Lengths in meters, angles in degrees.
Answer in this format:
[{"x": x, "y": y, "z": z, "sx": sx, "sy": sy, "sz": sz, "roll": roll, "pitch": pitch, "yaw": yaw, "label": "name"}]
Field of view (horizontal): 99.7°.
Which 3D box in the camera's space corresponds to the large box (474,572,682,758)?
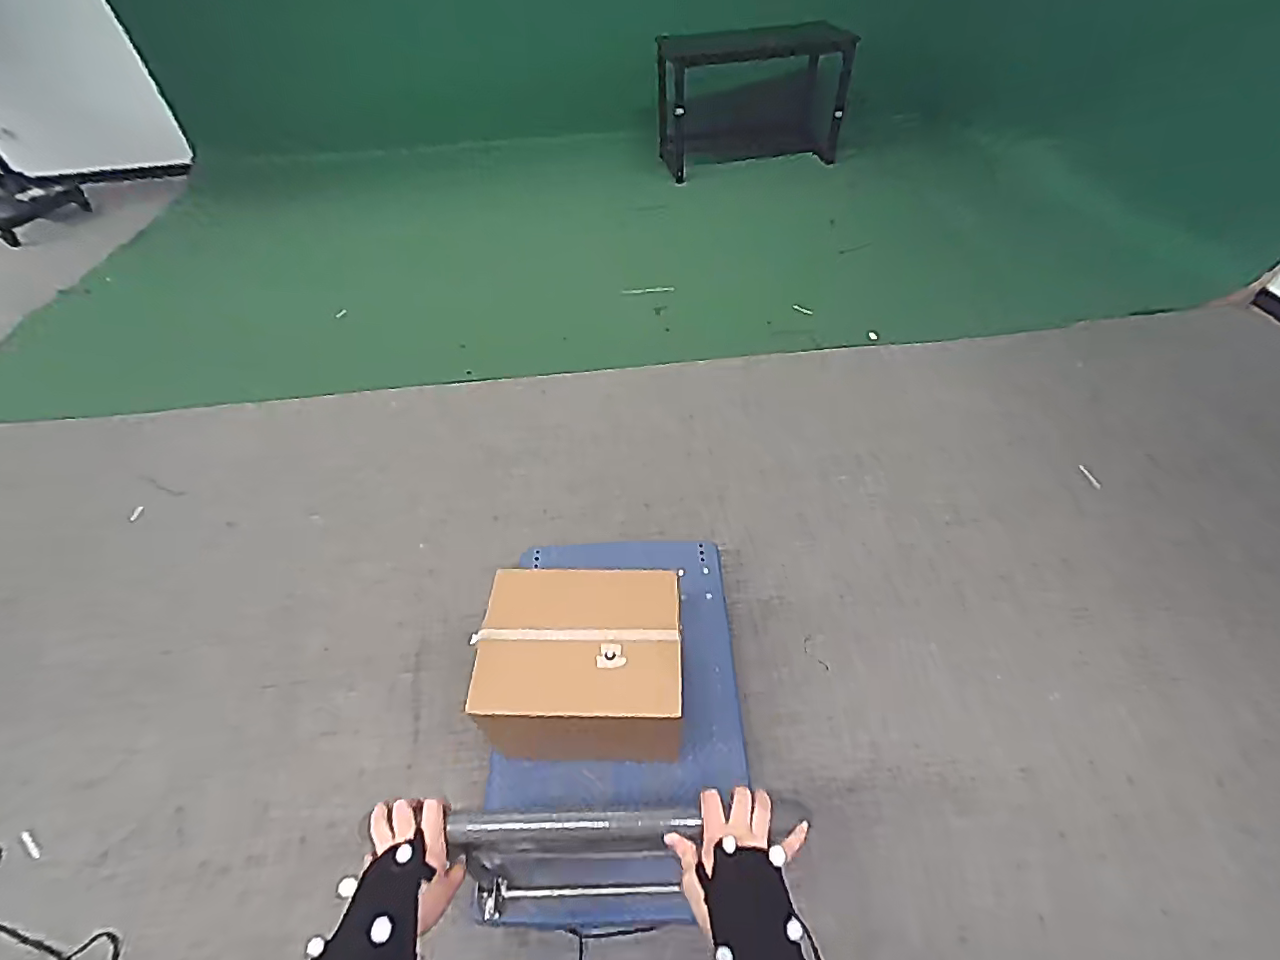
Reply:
[{"x": -0.118, "y": 0.421, "z": 1.227, "sx": 0.408, "sy": 0.320, "sz": 0.320, "roll": 0, "pitch": 49, "yaw": 1, "label": "large box"}]
